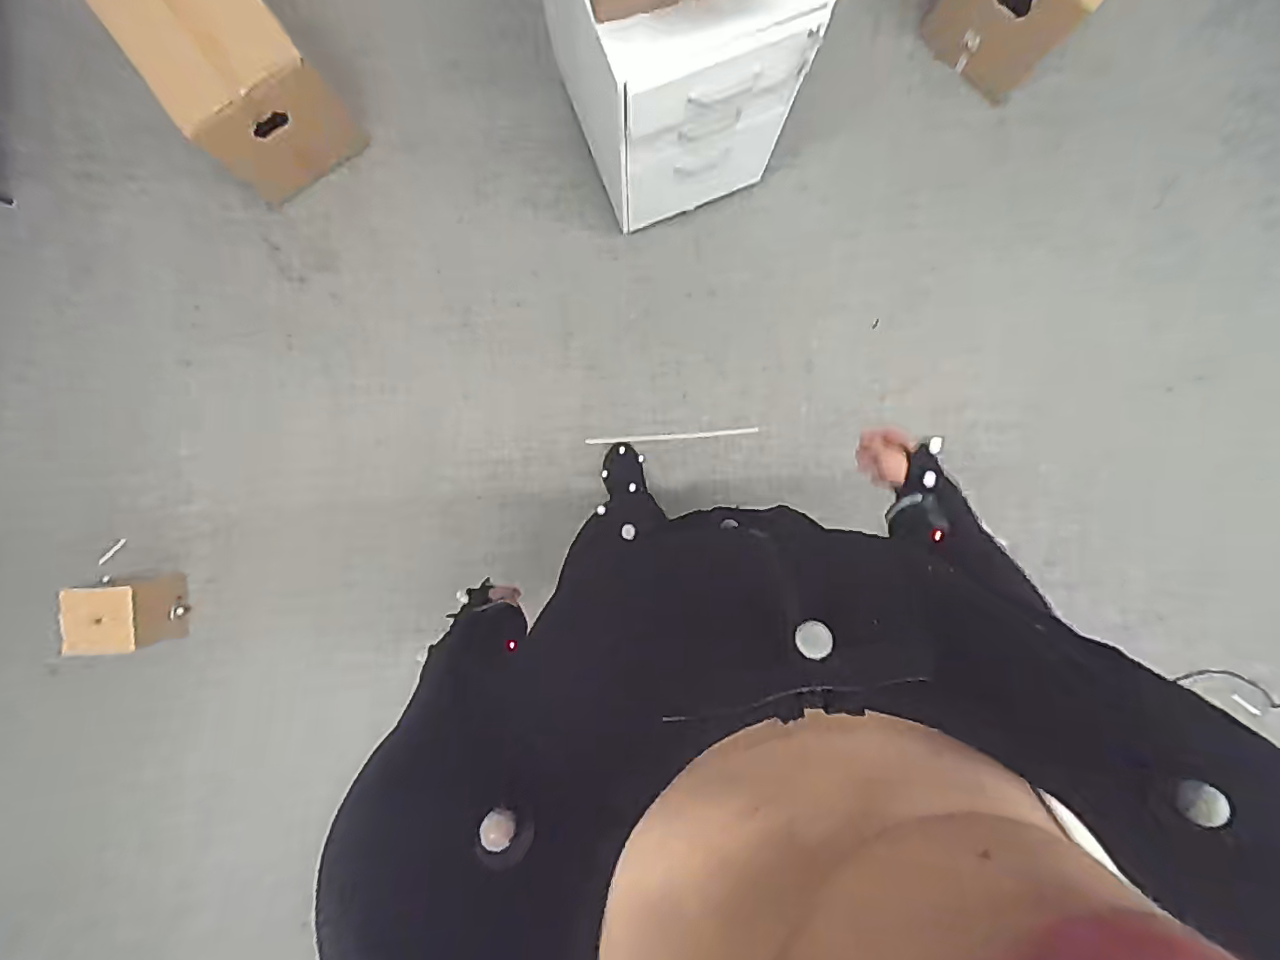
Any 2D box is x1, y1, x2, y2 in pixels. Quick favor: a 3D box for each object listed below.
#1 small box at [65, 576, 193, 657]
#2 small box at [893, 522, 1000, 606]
[{"bbox_3d":[-1.317,0.348,1.403,0.179,0.176,0.168,-4,91,-2],"label":"small box"},{"bbox_3d":[0.788,0.210,1.410,0.168,0.176,0.179,-12,91,-1],"label":"small box"}]
